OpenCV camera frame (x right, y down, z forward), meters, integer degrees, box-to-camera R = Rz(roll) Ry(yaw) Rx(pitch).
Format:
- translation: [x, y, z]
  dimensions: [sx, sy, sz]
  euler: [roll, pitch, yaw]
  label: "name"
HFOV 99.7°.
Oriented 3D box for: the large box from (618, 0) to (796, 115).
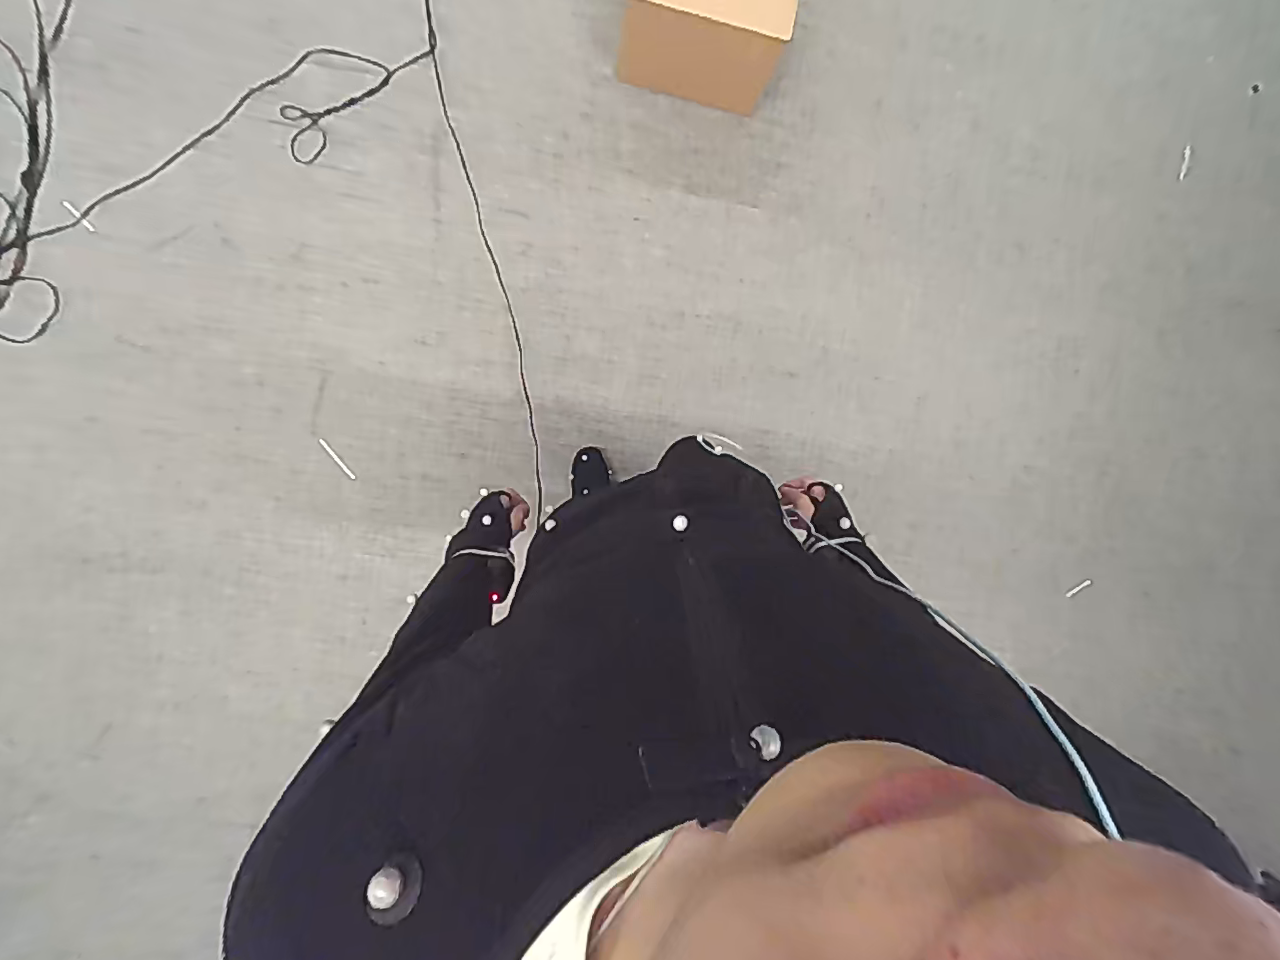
- translation: [0.169, -1.234, 1.405]
  dimensions: [0.408, 0.320, 0.320]
  euler: [10, 94, -7]
  label: "large box"
